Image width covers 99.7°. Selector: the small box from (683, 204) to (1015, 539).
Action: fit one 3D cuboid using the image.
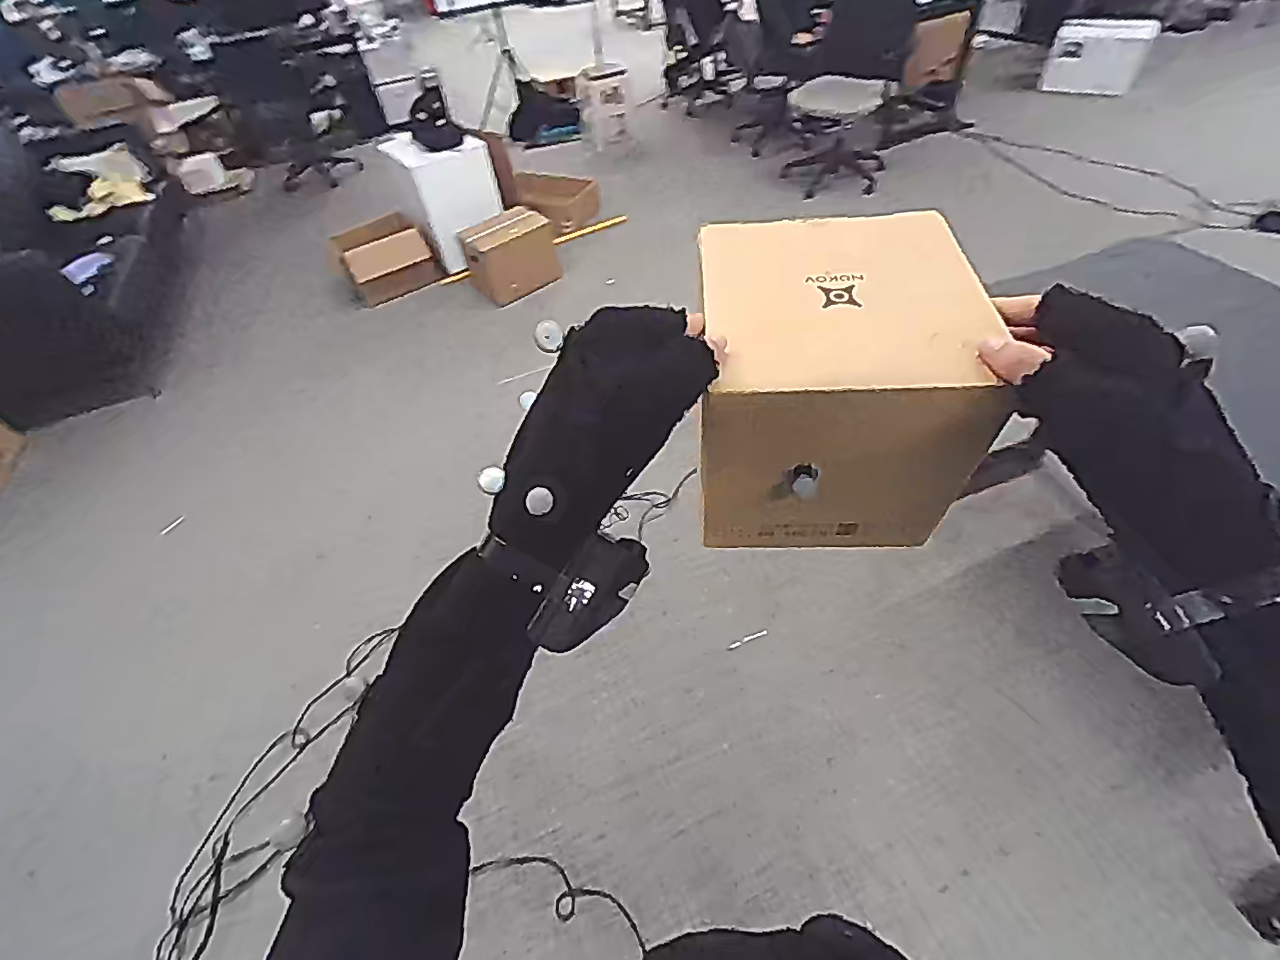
[{"bbox_3d":[0.117,-0.067,0.389,0.168,0.176,0.179,-2,53,5],"label":"small box"}]
